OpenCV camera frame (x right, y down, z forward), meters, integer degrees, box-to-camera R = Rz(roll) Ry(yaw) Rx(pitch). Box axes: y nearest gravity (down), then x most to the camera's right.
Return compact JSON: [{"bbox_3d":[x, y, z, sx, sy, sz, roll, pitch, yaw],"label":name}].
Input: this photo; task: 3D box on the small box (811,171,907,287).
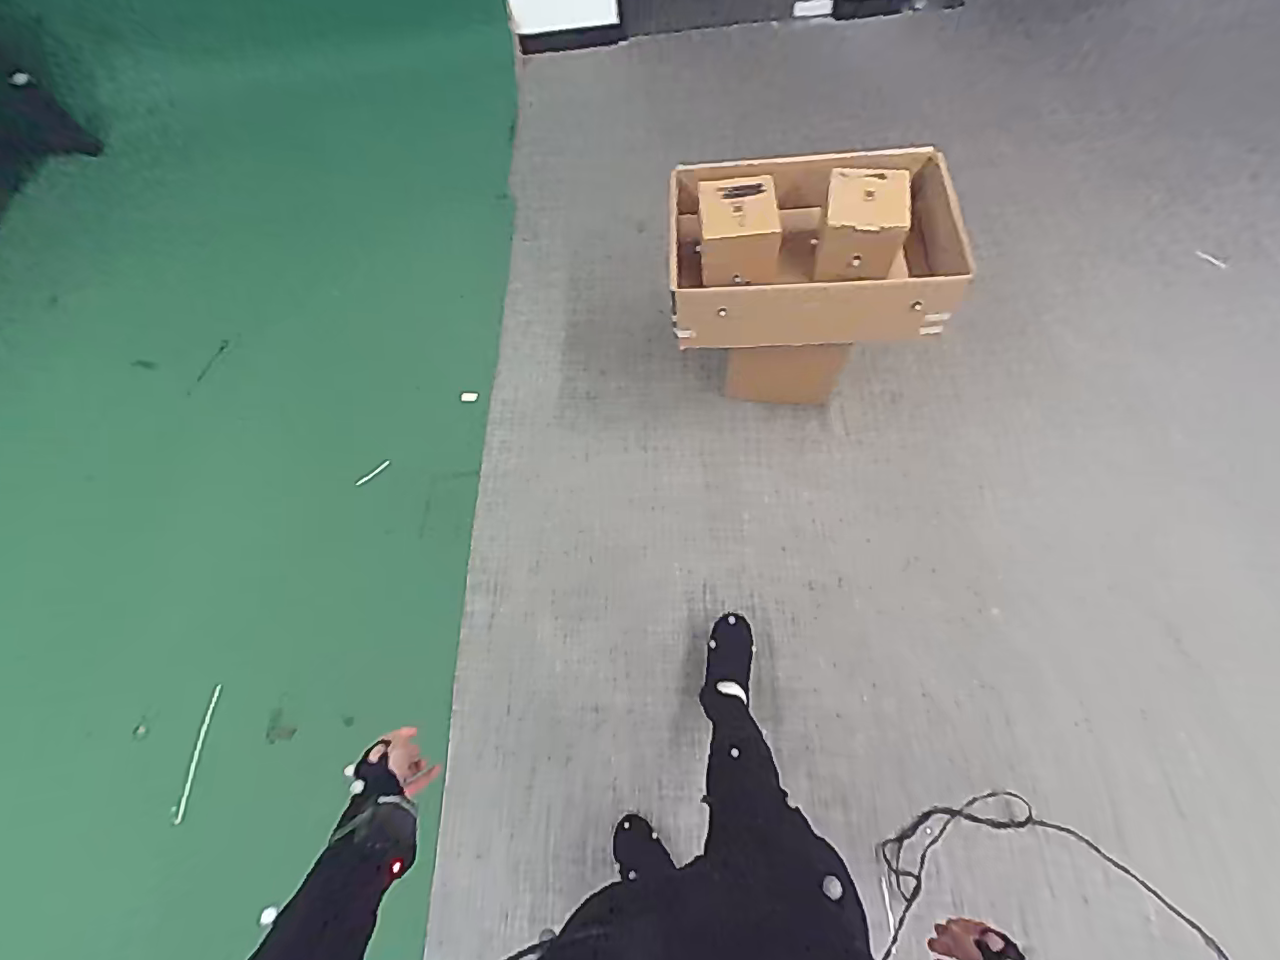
[{"bbox_3d":[0.490,-0.564,1.227,0.168,0.176,0.179,9,68,9],"label":"small box"}]
